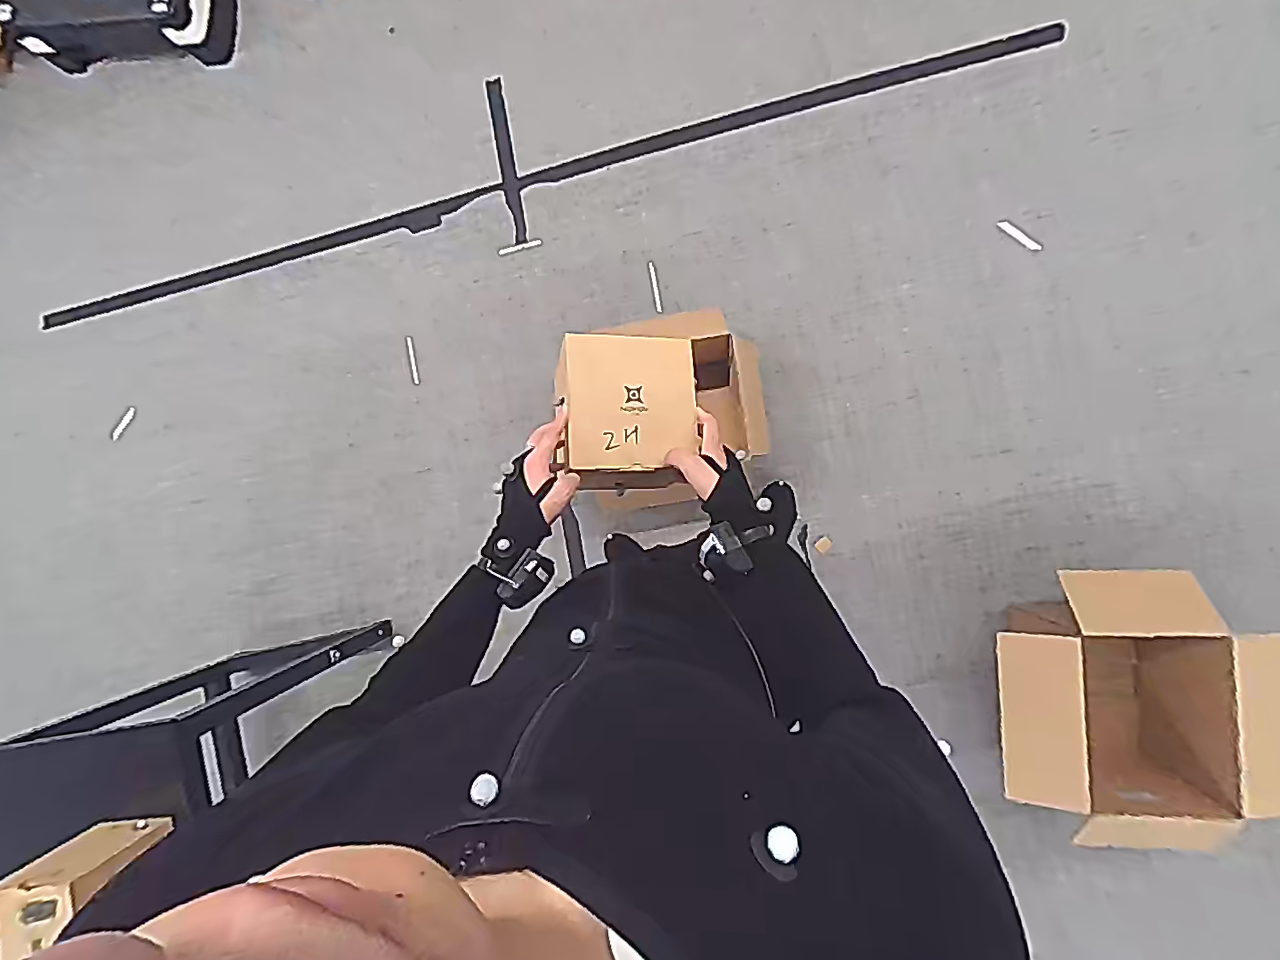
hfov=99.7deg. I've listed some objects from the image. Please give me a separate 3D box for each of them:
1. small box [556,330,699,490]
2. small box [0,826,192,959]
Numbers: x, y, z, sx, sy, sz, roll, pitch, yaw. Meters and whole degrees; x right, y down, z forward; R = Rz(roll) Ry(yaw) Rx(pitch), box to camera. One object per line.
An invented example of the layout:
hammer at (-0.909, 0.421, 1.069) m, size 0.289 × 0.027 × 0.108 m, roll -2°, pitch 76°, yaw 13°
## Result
small box at (-0.026, -0.086, 0.743) m, size 0.168 × 0.176 × 0.179 m, roll -1°, pitch 81°, yaw -13°
small box at (-0.944, 0.739, 0.949) m, size 0.168 × 0.176 × 0.179 m, roll -10°, pitch 91°, yaw 9°
